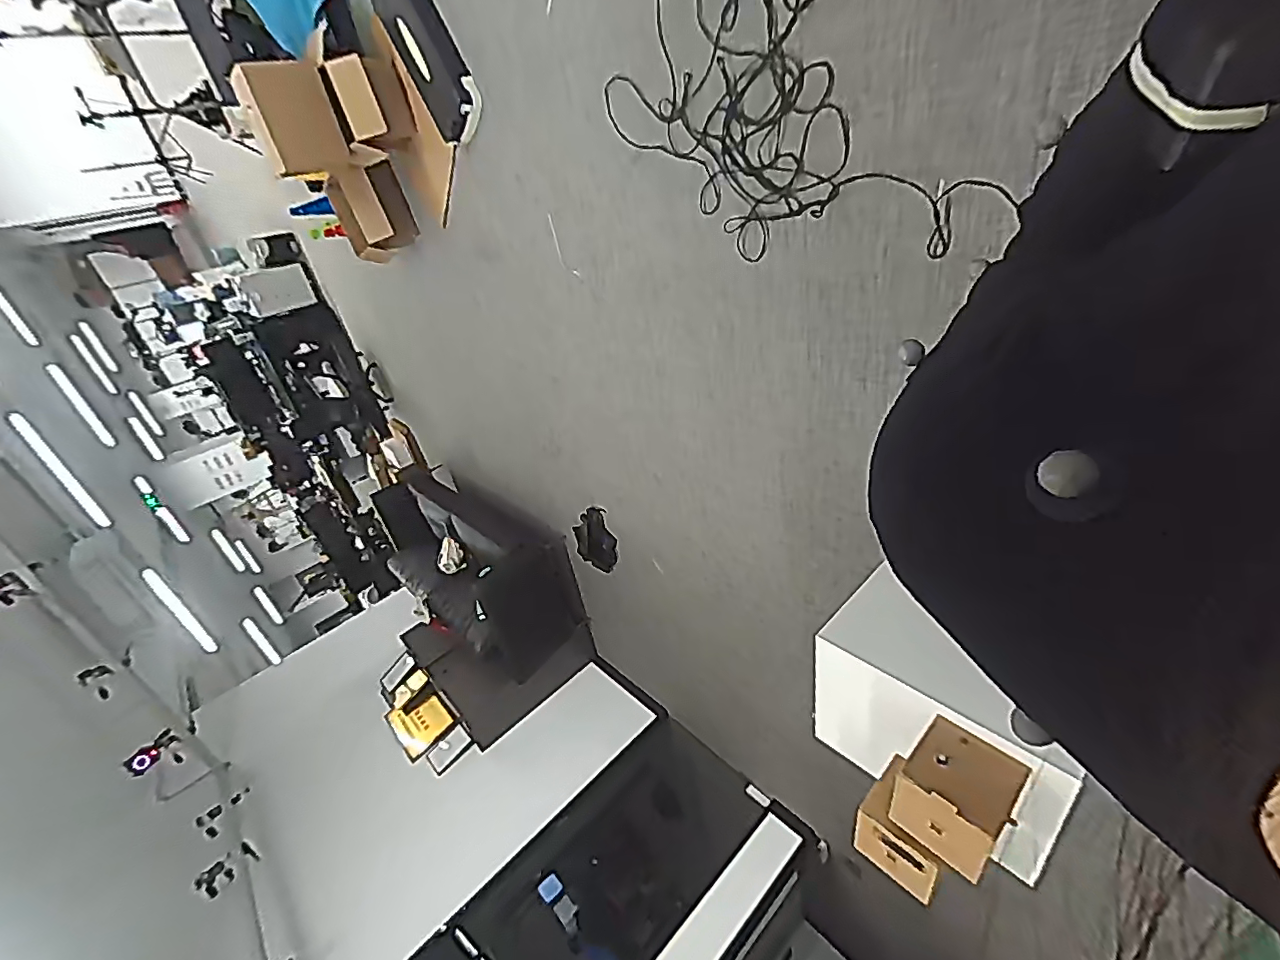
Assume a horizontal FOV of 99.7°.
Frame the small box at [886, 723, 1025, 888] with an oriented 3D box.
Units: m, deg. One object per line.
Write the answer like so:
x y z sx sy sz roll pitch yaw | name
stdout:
0.595 0.604 1.024 0.168 0.176 0.179 27 138 43 | small box
